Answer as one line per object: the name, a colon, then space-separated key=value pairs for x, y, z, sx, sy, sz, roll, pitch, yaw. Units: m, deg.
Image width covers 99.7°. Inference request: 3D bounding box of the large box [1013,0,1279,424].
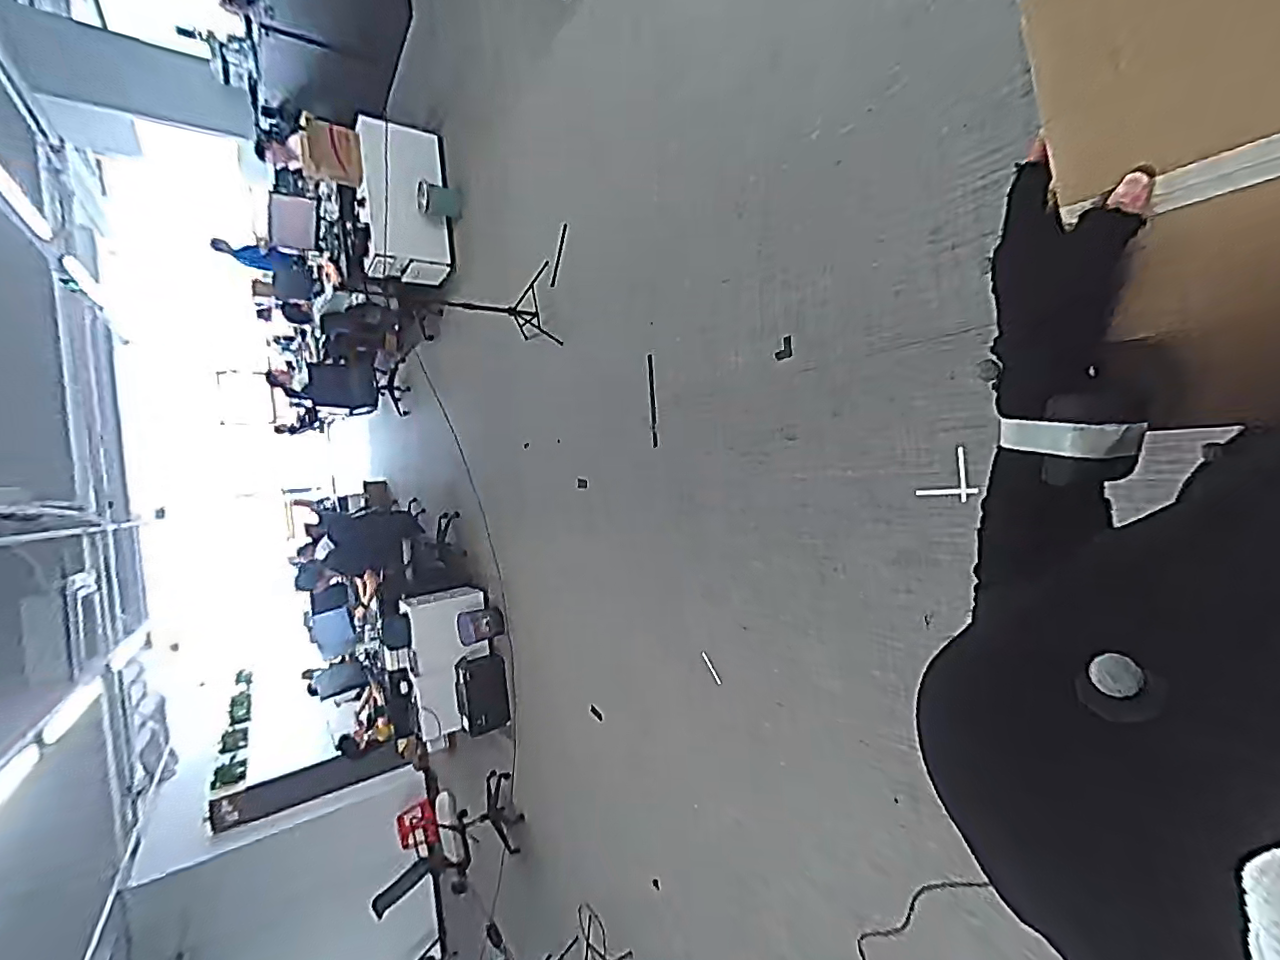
large box: x=0.492 y=-0.253 z=0.266 sx=0.408 sy=0.320 sz=0.320 roll=-1 pitch=124 yaw=55
